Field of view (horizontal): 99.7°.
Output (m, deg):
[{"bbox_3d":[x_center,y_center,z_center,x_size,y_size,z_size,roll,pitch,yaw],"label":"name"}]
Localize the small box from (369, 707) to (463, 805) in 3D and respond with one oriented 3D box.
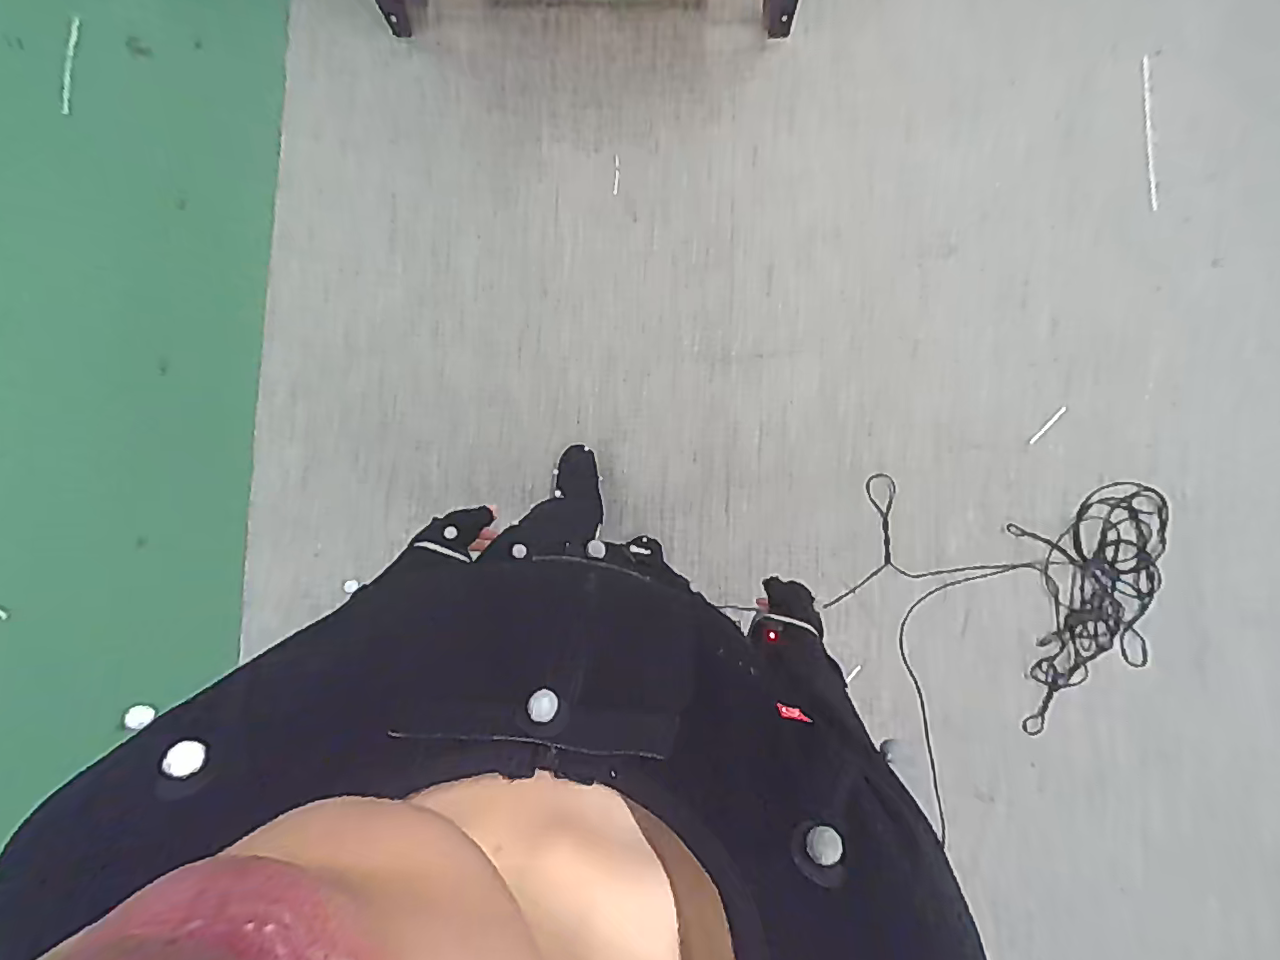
[{"bbox_3d":[-0.556,0.686,1.363,0.168,0.176,0.179,1,85,2],"label":"small box"}]
